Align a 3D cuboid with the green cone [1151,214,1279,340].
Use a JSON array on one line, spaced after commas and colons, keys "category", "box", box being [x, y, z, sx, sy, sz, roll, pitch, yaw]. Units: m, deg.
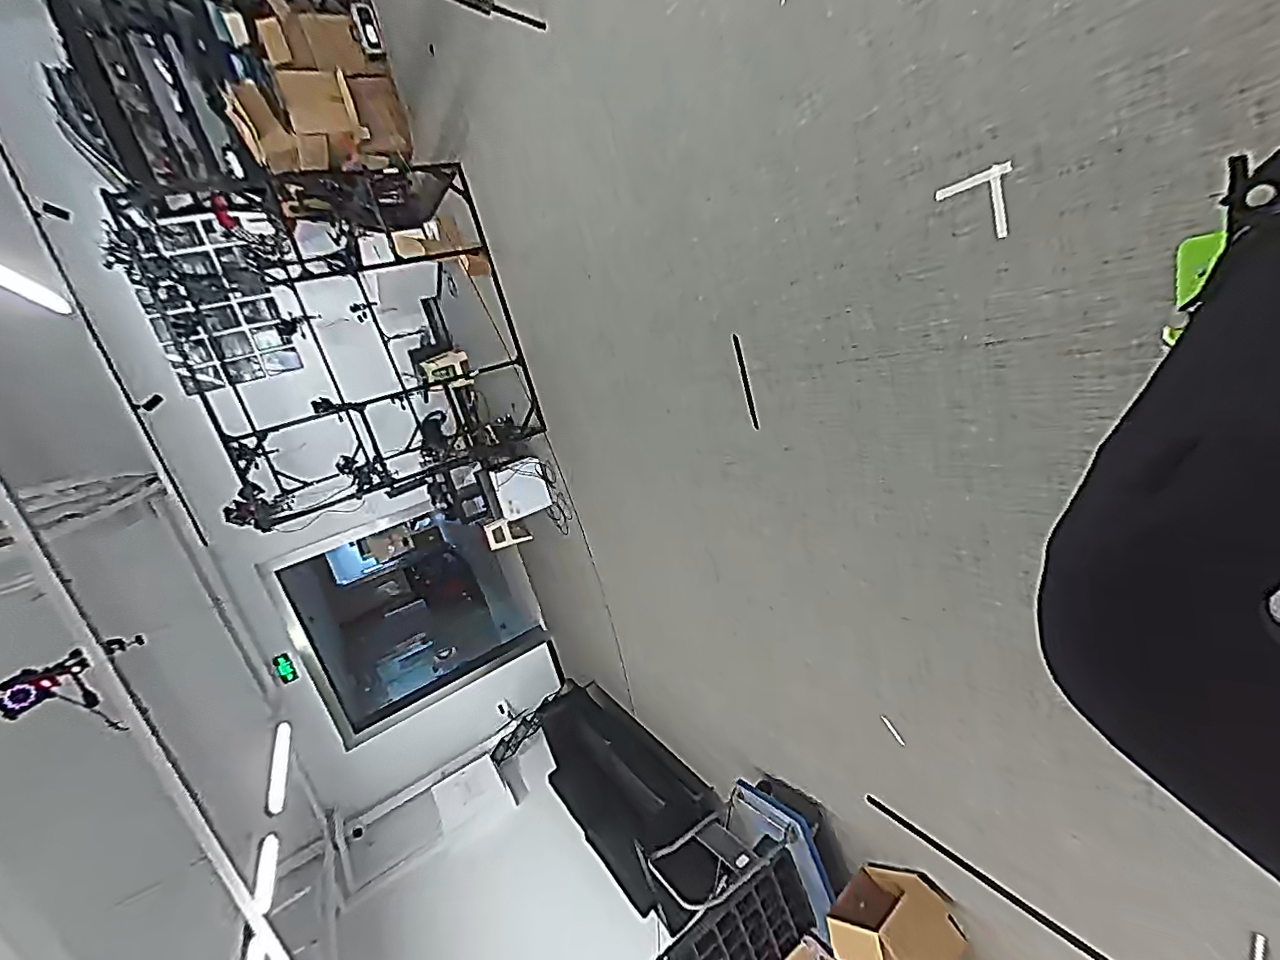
[{"category": "green cone", "box": [0.947, -0.298, 0.885, 0.202, 0.368, 0.200, 13, 122, 60]}]
